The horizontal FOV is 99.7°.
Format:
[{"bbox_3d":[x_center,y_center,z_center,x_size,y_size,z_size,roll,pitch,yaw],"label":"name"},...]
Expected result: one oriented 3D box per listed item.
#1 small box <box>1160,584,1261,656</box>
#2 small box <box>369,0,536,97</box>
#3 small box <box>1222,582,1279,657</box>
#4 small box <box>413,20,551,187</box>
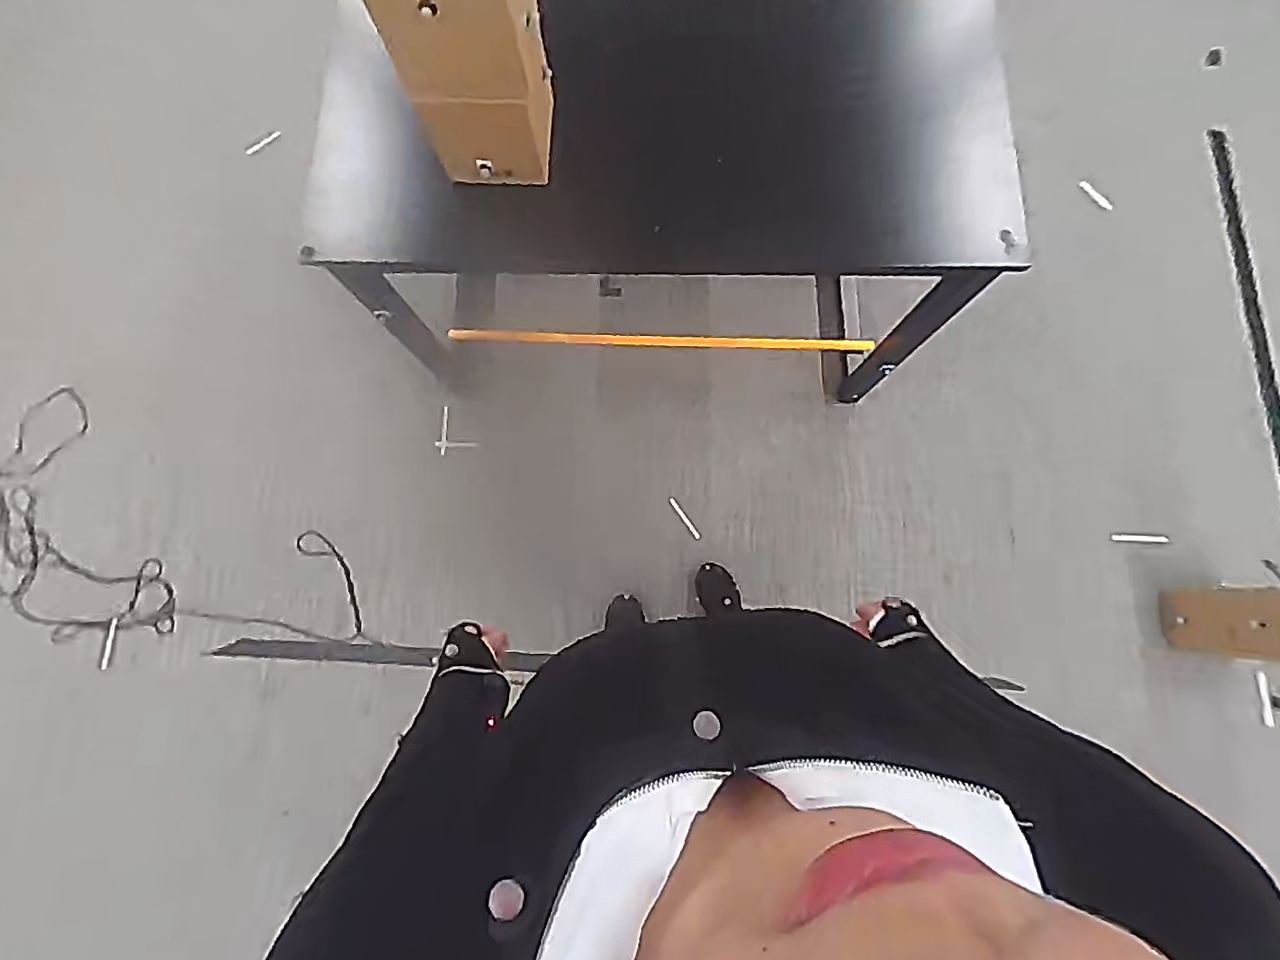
[{"bbox_3d":[1.505,0.356,1.387,0.179,0.176,0.168,2,79,2],"label":"small box"},{"bbox_3d":[-0.242,-0.634,0.700,0.179,0.176,0.168,0,79,1],"label":"small box"},{"bbox_3d":[1.491,0.318,1.228,0.179,0.176,0.168,0,79,2],"label":"small box"},{"bbox_3d":[-0.239,-0.604,0.862,0.168,0.176,0.179,1,80,2],"label":"small box"}]
